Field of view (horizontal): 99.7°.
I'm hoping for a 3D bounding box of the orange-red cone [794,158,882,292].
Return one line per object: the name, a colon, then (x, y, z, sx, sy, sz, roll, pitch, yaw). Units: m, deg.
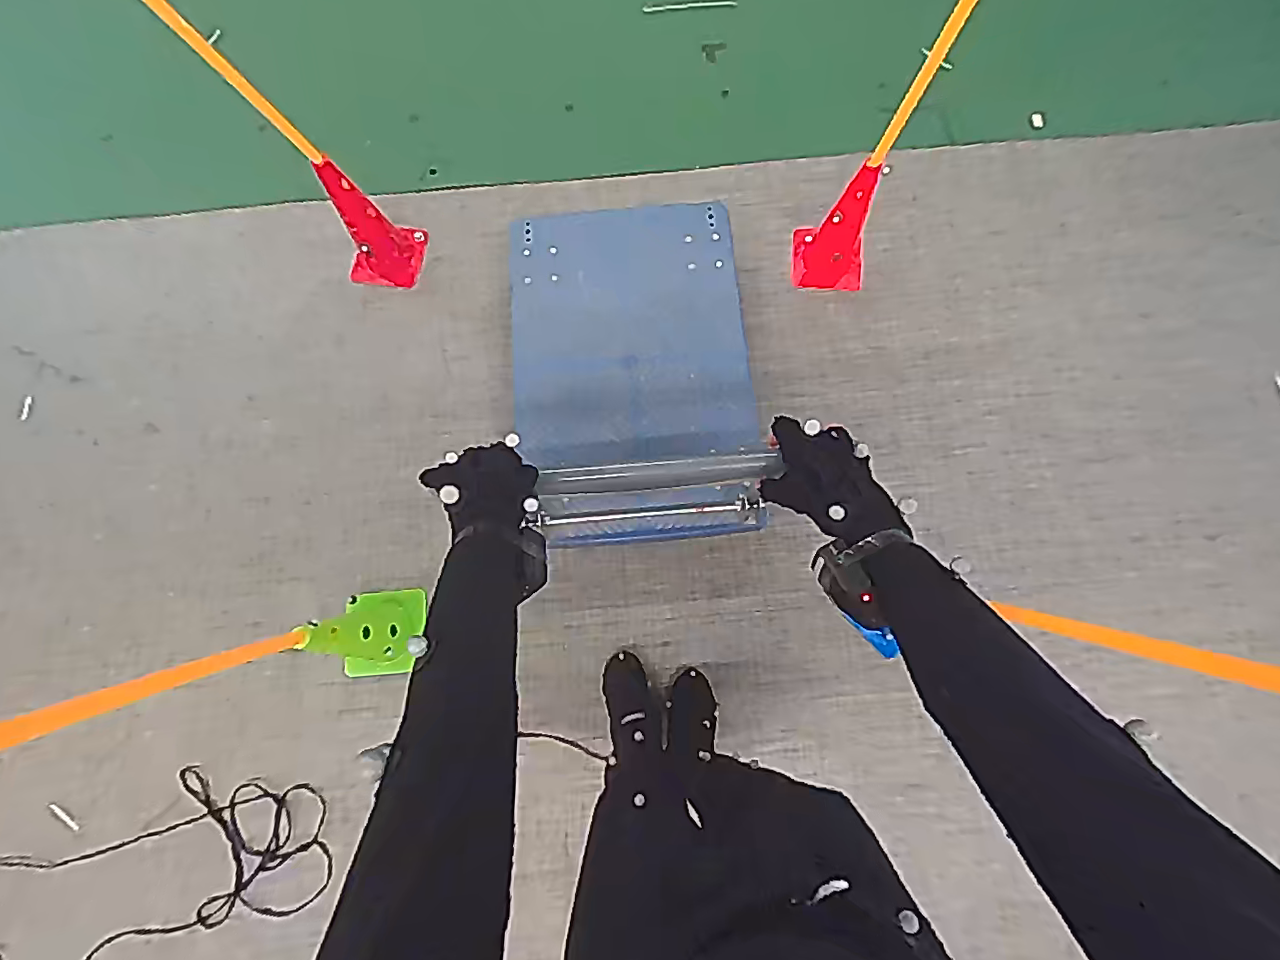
orange-red cone: (0.547, -0.682, 1.413, 0.198, 0.360, 0.199, 6, 77, 4)
